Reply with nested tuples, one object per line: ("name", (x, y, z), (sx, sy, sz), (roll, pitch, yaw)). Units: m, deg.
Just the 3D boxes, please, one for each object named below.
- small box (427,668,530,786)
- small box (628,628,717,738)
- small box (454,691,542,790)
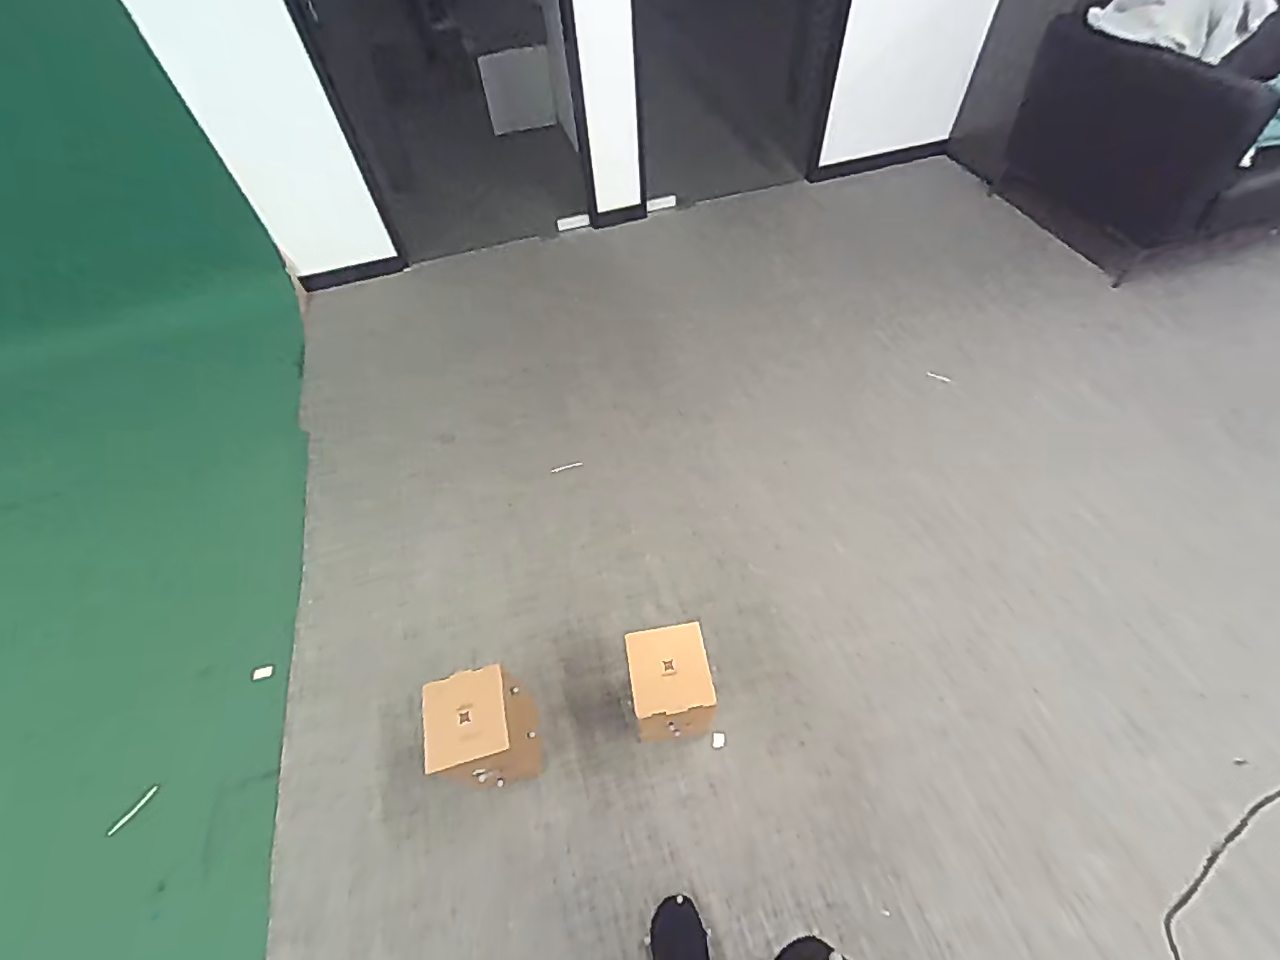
("small box", (-0.343, 0.531, 1.159), (0.168, 0.176, 0.179), (-15, 56, -6))
("small box", (0.067, 0.450, 1.191), (0.168, 0.176, 0.179), (-9, 55, -3))
("small box", (-0.338, 0.625, 1.291), (0.168, 0.176, 0.179), (-12, 55, -5))
